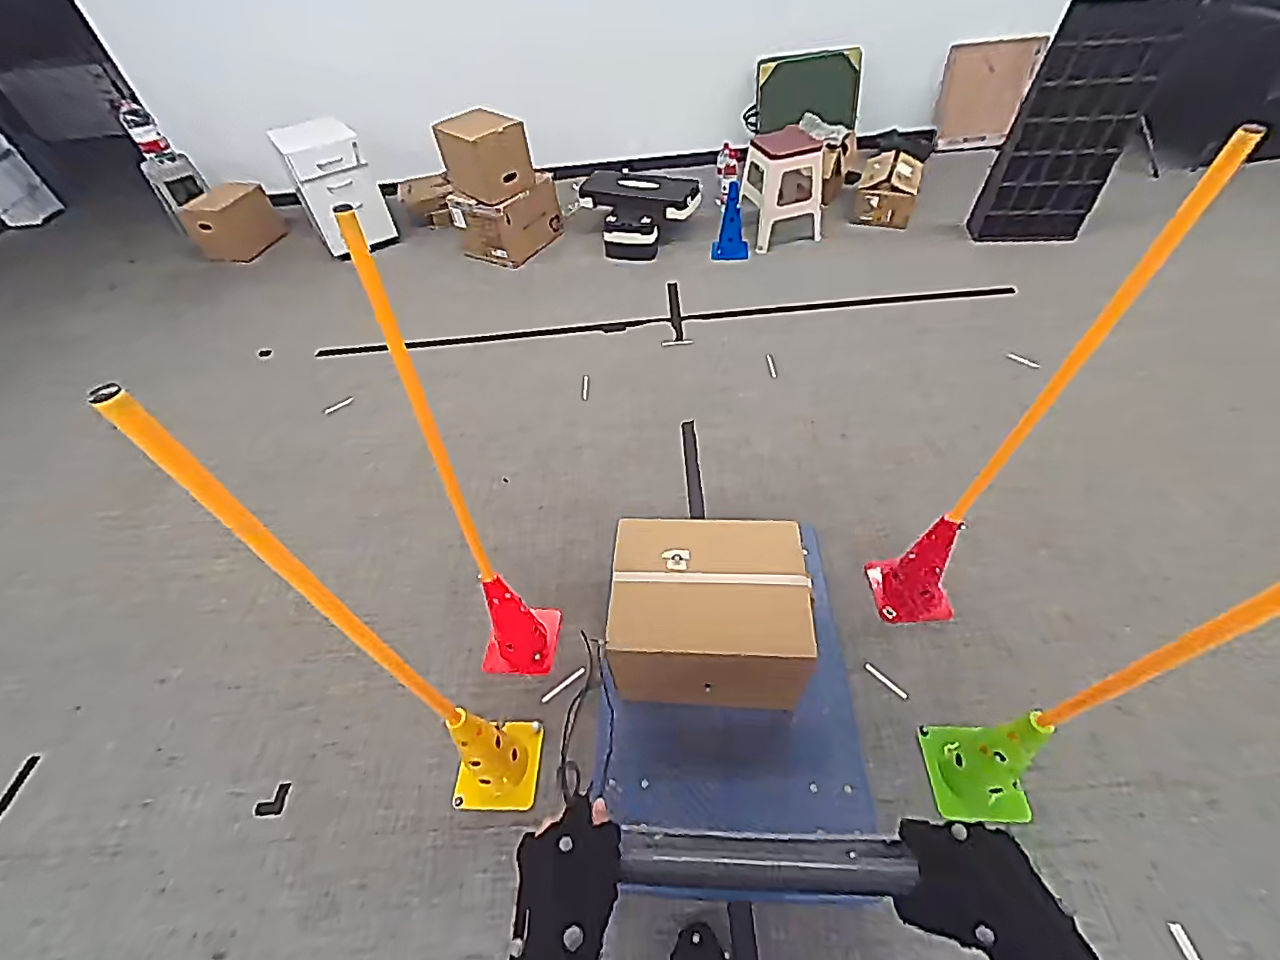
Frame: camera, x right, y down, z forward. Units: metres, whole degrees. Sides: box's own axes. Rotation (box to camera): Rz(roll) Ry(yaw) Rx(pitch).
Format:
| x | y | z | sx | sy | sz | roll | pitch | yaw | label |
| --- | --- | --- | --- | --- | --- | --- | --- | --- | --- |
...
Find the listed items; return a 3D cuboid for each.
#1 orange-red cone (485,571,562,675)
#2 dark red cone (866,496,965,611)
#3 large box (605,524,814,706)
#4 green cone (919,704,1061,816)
| x | y | z | sx | sy | sz | roll | pitch | yaw | label |
| --- | --- | --- | --- | --- | --- | --- | --- | --- | --- |
| -0.349 | 0.353 | 1.452 | 0.198 | 0.360 | 0.199 | 2 | 48 | 6 | orange-red cone |
| 0.773 | 0.183 | 1.448 | 0.201 | 0.394 | 0.202 | -3 | 49 | 1 | dark red cone |
| 0.152 | 0.314 | 1.238 | 0.408 | 0.320 | 0.320 | -1 | 50 | 7 | large box |
| 0.770 | 0.560 | 1.142 | 0.202 | 0.368 | 0.200 | -1 | 49 | 4 | green cone |
